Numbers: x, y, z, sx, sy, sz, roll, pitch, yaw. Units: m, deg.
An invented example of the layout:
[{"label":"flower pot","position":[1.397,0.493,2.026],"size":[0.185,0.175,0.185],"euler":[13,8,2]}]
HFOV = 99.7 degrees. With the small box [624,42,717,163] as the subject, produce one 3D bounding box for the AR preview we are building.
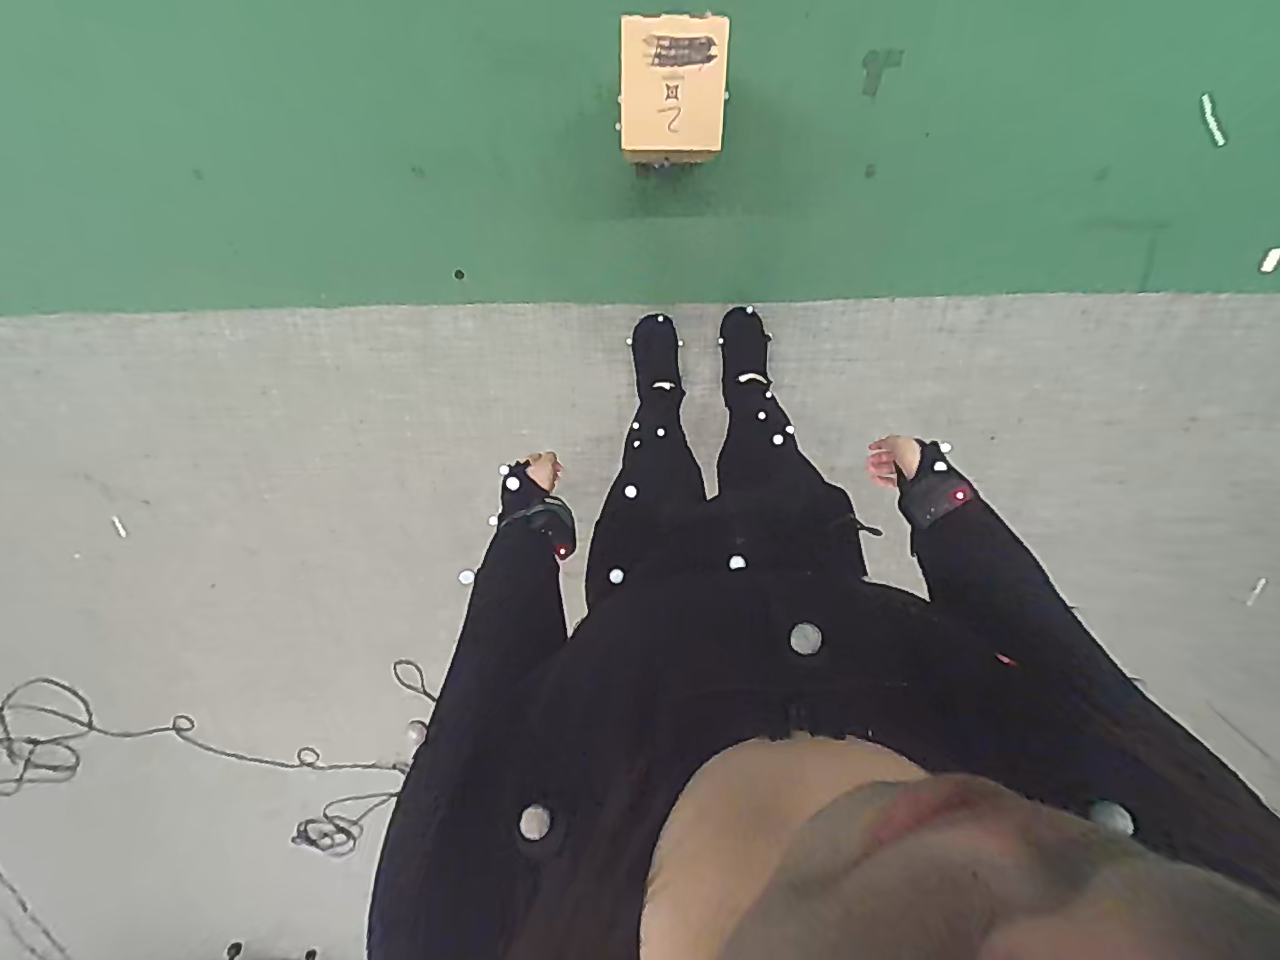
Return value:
[{"label":"small box","position":[0.057,-0.727,1.059],"size":[0.168,0.176,0.179],"euler":[1,116,1]}]
